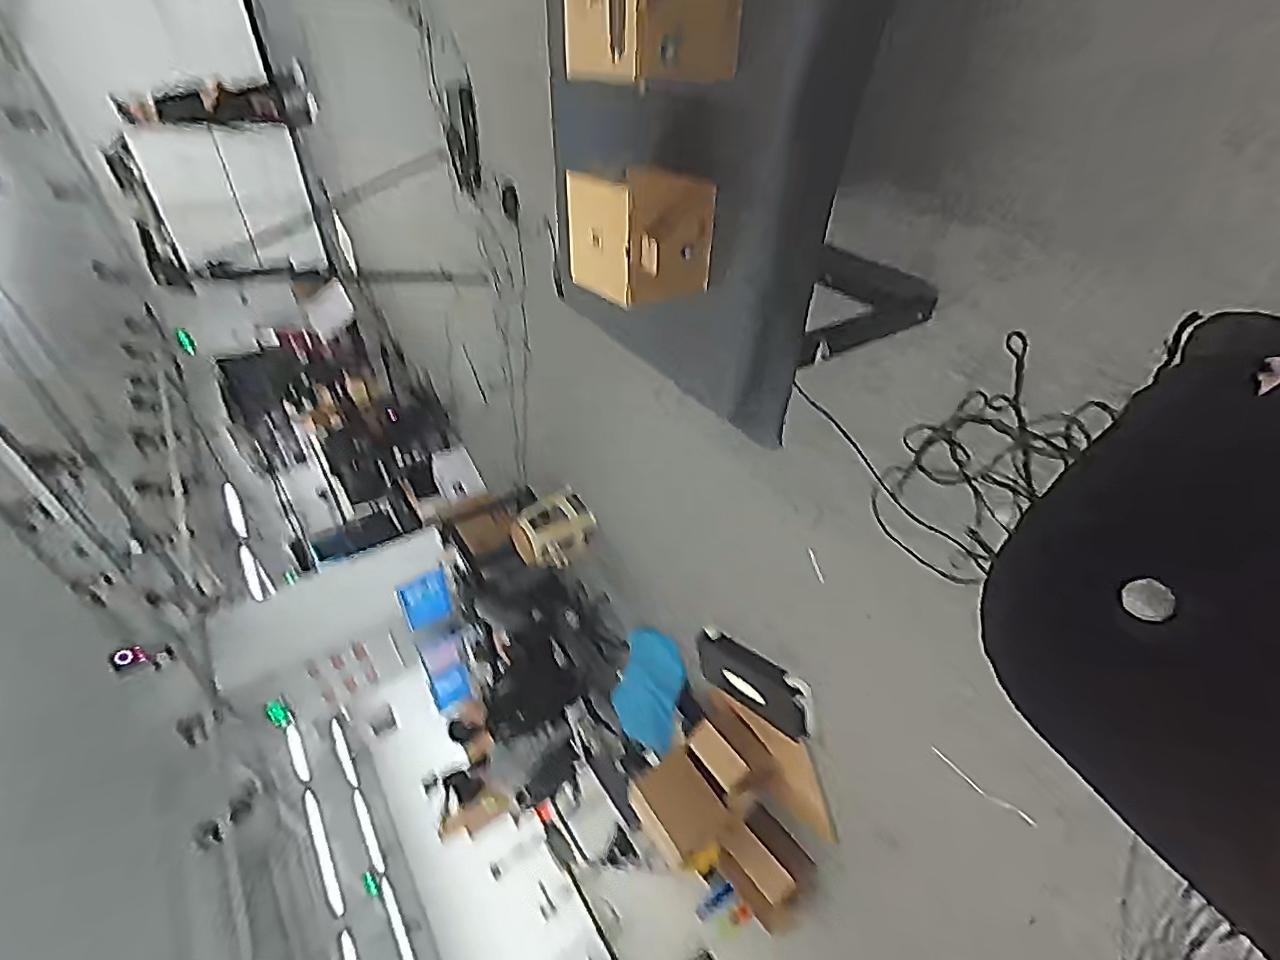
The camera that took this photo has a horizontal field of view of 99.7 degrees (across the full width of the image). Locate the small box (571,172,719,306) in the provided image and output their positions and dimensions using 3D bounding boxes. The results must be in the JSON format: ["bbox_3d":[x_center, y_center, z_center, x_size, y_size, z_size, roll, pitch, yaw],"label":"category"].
[{"bbox_3d":[0.004,-0.402,0.889,0.179,0.176,0.168,39,140,40],"label":"small box"}]
